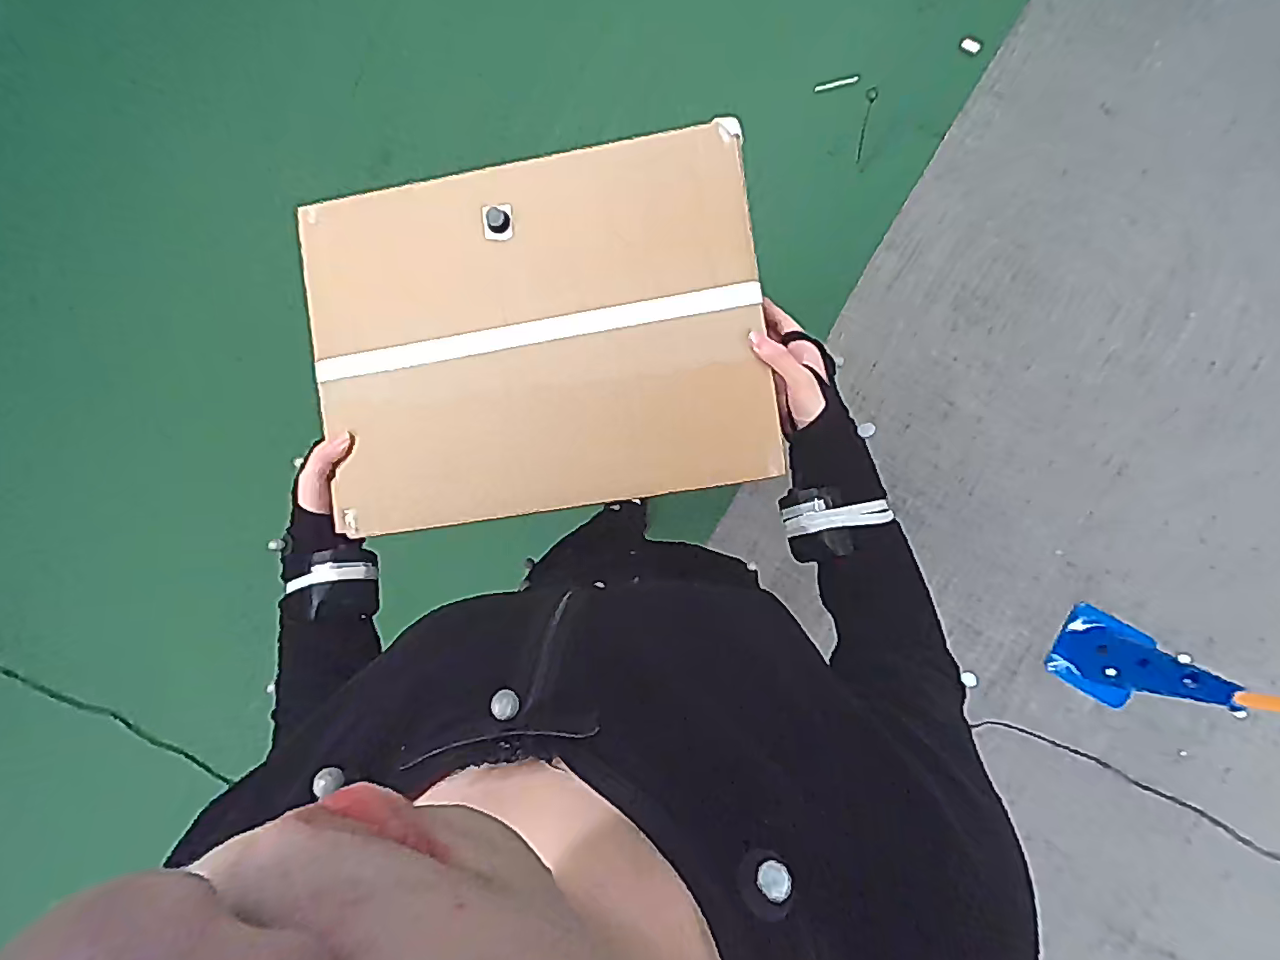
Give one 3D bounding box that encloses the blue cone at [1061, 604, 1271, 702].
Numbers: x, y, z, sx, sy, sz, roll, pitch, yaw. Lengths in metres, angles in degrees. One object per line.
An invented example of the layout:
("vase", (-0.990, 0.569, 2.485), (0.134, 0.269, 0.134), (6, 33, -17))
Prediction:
("blue cone", (1.133, 0.402, 1.164), (0.192, 0.380, 0.193), (28, 87, 8))
